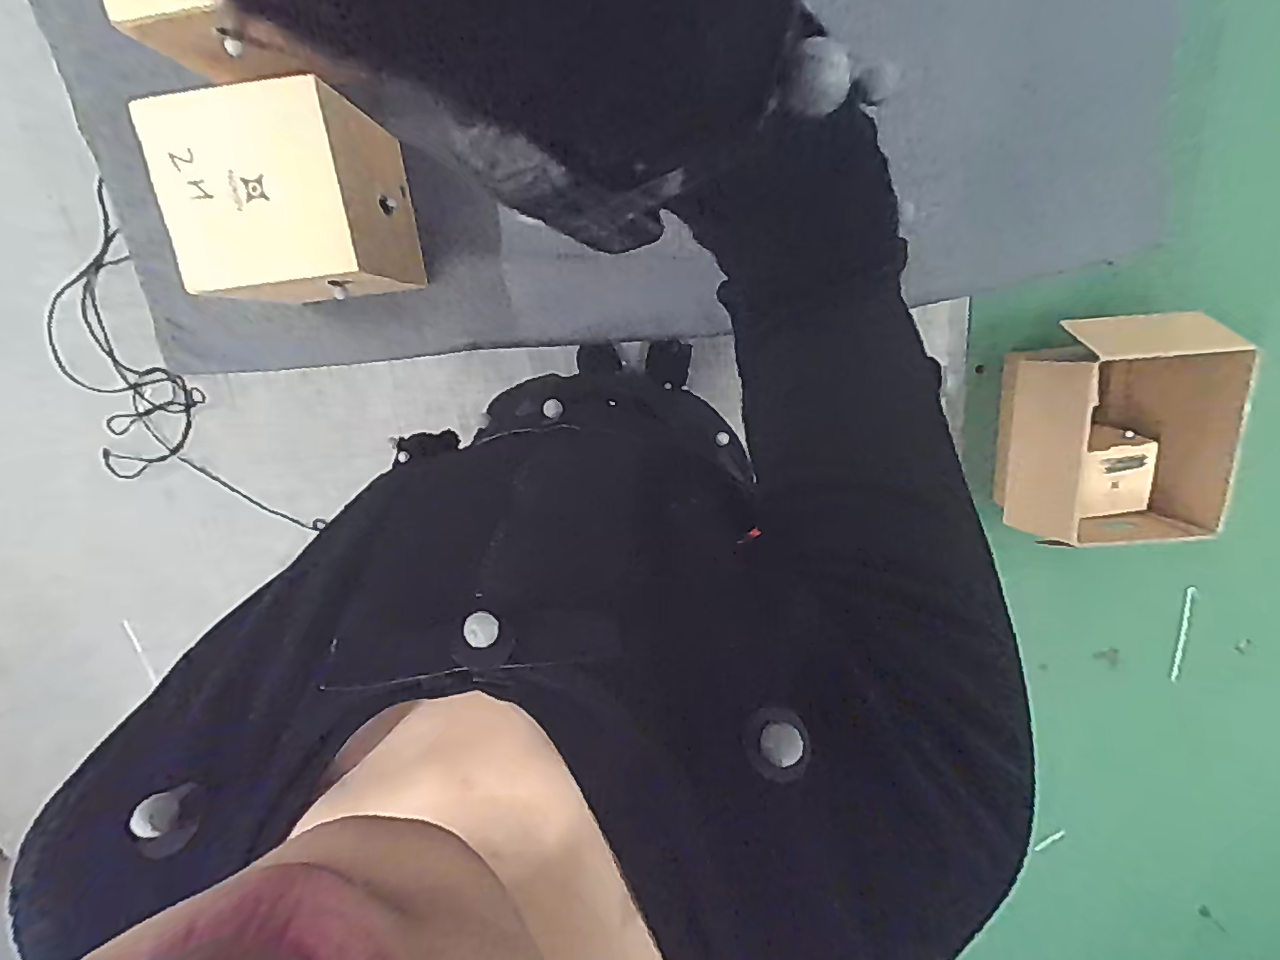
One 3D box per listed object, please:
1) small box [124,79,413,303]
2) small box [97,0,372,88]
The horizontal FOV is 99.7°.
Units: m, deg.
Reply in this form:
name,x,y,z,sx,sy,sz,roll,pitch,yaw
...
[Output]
name,x,y,z,sx,sy,sz,roll,pitch,yaw
small box,-0.362,-0.285,0.572,0.179,0.176,0.168,-6,104,3
small box,-0.384,-0.501,0.515,0.179,0.176,0.168,-7,106,4
